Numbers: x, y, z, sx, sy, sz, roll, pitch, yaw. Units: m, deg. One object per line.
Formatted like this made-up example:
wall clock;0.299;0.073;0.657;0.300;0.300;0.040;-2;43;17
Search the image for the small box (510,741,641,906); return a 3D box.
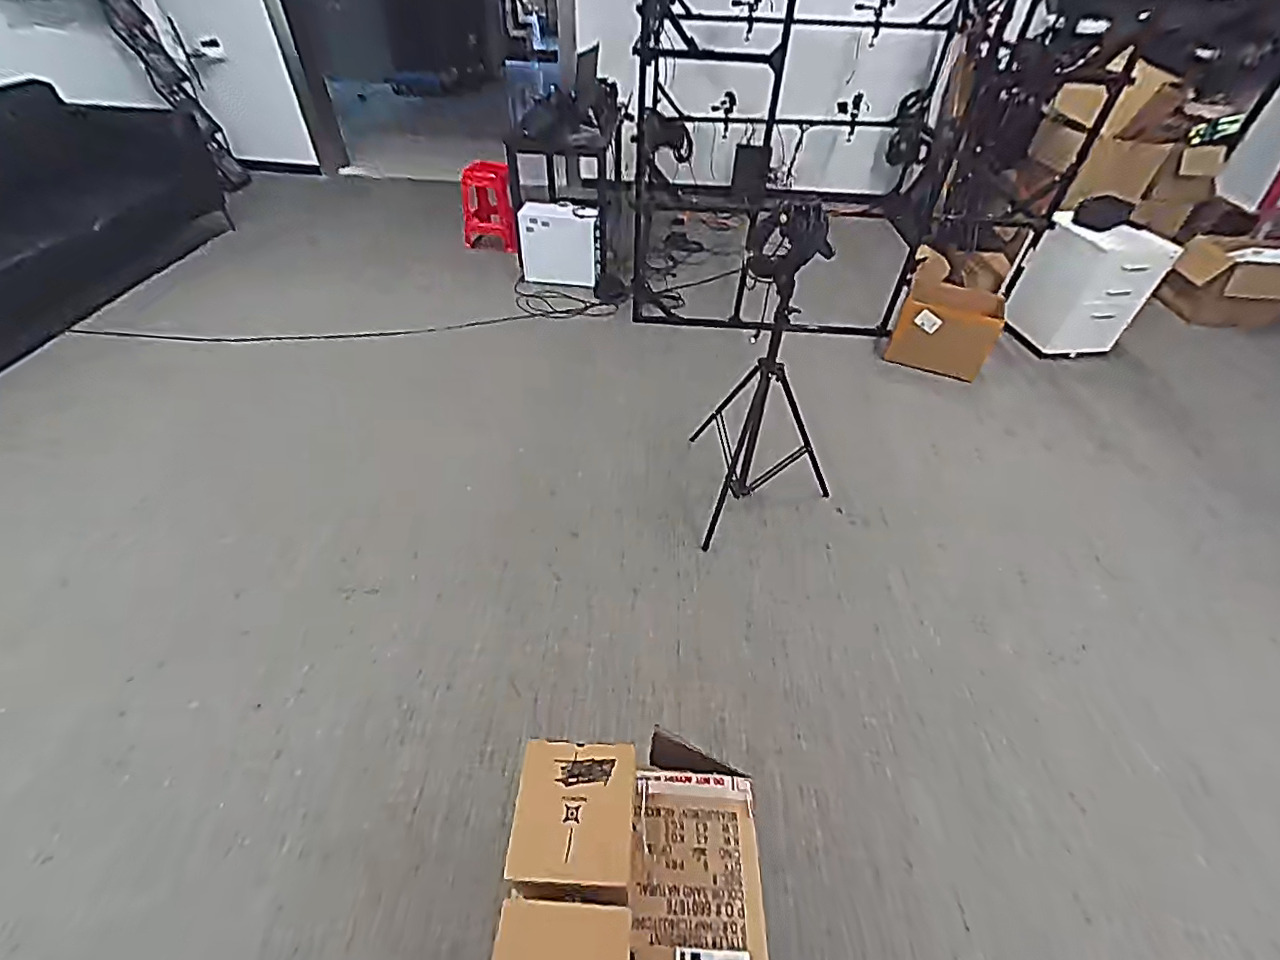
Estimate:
small box;-0.085;0.517;0.815;0.168;0.176;0.179;1;47;2
